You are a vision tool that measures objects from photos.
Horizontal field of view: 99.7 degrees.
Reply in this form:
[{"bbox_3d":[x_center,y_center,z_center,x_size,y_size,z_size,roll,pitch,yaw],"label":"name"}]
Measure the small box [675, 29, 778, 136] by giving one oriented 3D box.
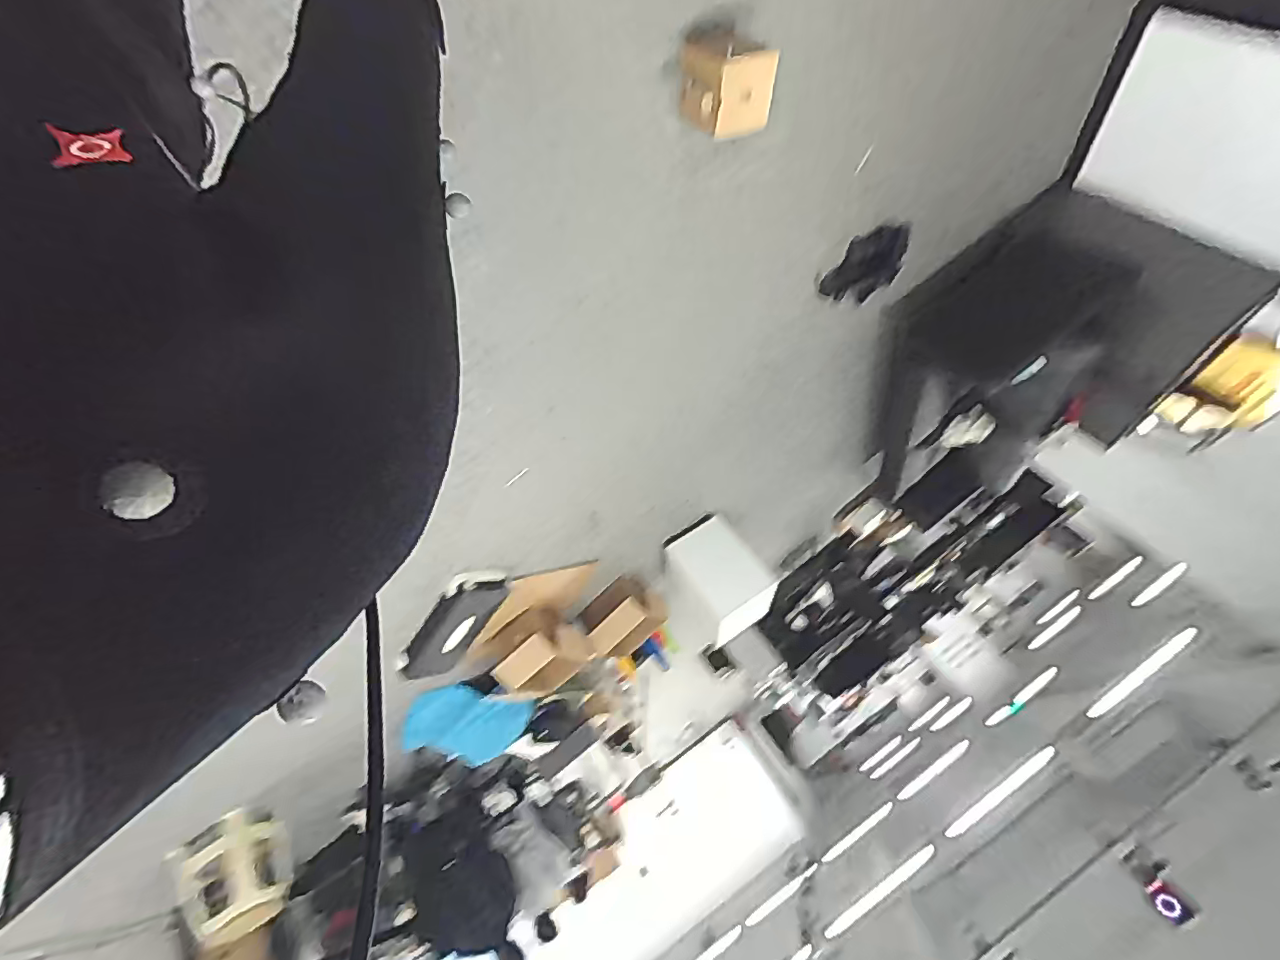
[{"bbox_3d":[0.212,-1.008,1.366,0.179,0.176,0.168,-27,149,-19],"label":"small box"}]
